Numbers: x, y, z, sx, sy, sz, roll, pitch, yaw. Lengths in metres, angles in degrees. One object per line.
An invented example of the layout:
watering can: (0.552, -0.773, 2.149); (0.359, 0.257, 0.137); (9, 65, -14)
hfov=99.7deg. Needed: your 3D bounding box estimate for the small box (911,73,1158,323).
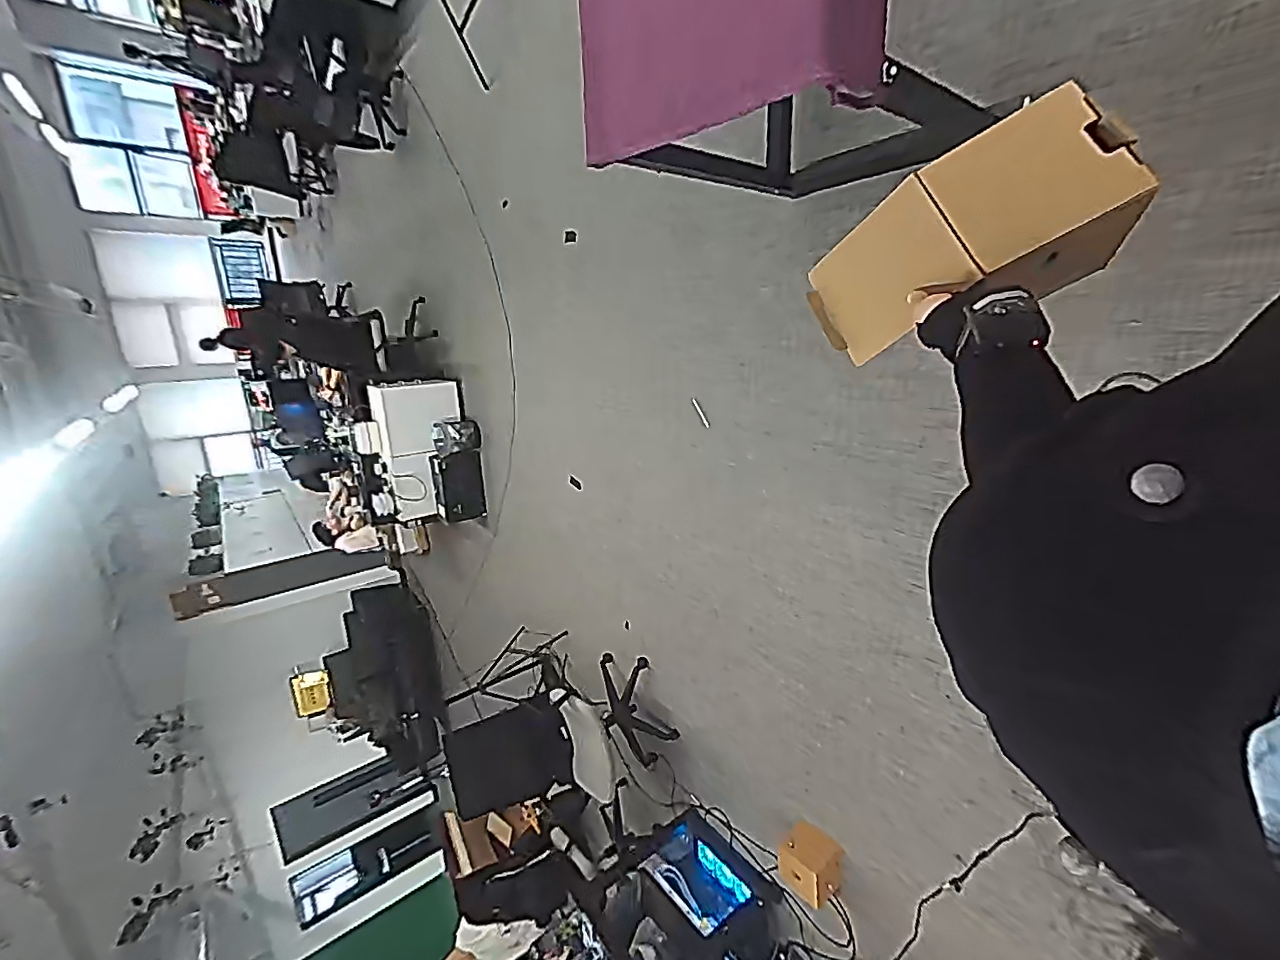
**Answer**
small box: (0.457, -0.325, 0.664); (0.179, 0.176, 0.168); (-26, 71, 19)
